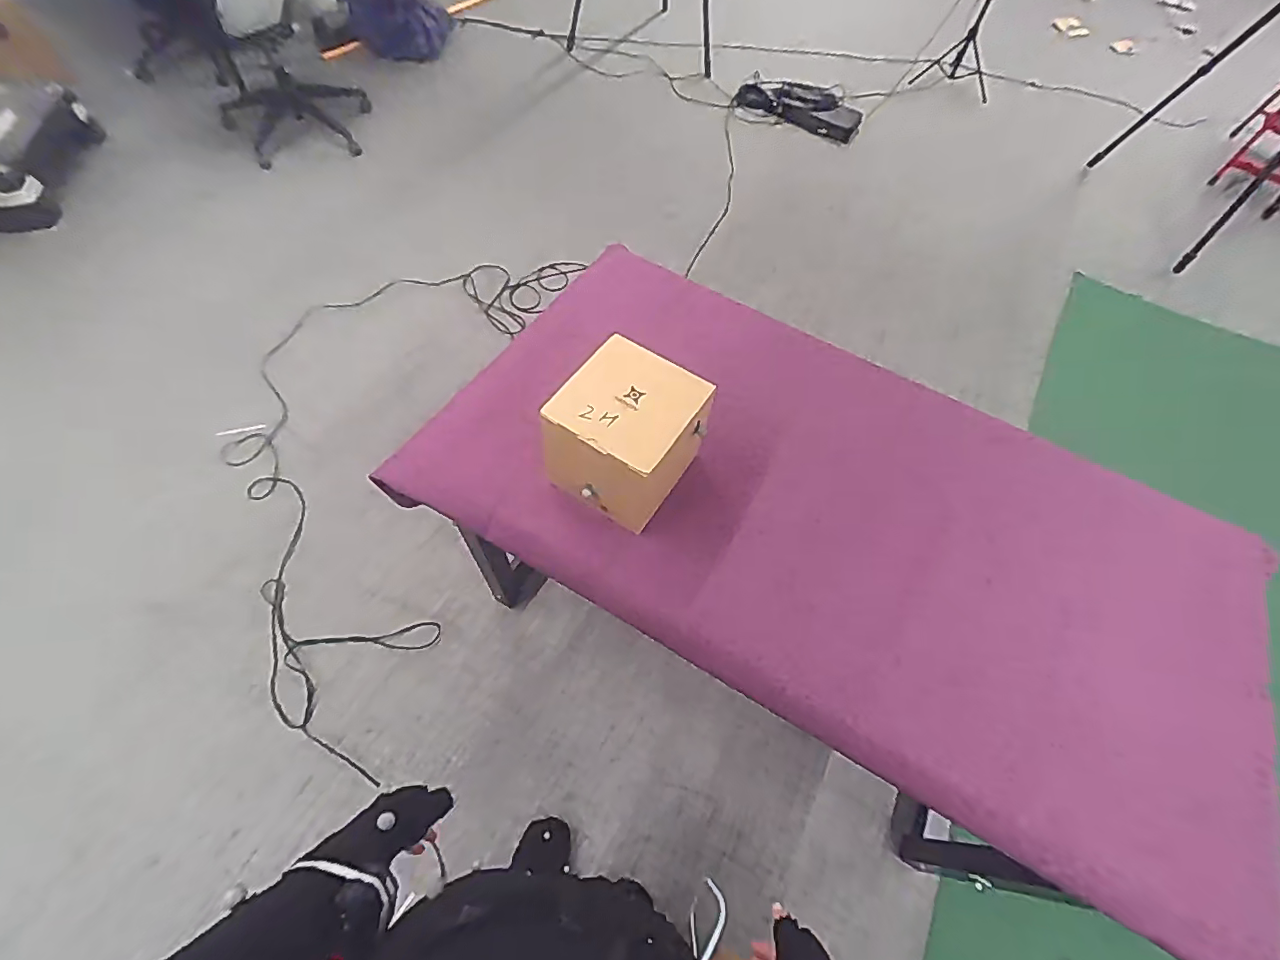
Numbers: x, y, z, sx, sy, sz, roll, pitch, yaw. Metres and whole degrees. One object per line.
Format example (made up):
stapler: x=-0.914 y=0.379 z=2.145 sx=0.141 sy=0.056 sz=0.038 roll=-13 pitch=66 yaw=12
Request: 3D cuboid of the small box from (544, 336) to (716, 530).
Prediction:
small box: x=-0.018 y=-0.063 z=0.774 sx=0.168 sy=0.176 sz=0.179 roll=32 pitch=62 yaw=13
